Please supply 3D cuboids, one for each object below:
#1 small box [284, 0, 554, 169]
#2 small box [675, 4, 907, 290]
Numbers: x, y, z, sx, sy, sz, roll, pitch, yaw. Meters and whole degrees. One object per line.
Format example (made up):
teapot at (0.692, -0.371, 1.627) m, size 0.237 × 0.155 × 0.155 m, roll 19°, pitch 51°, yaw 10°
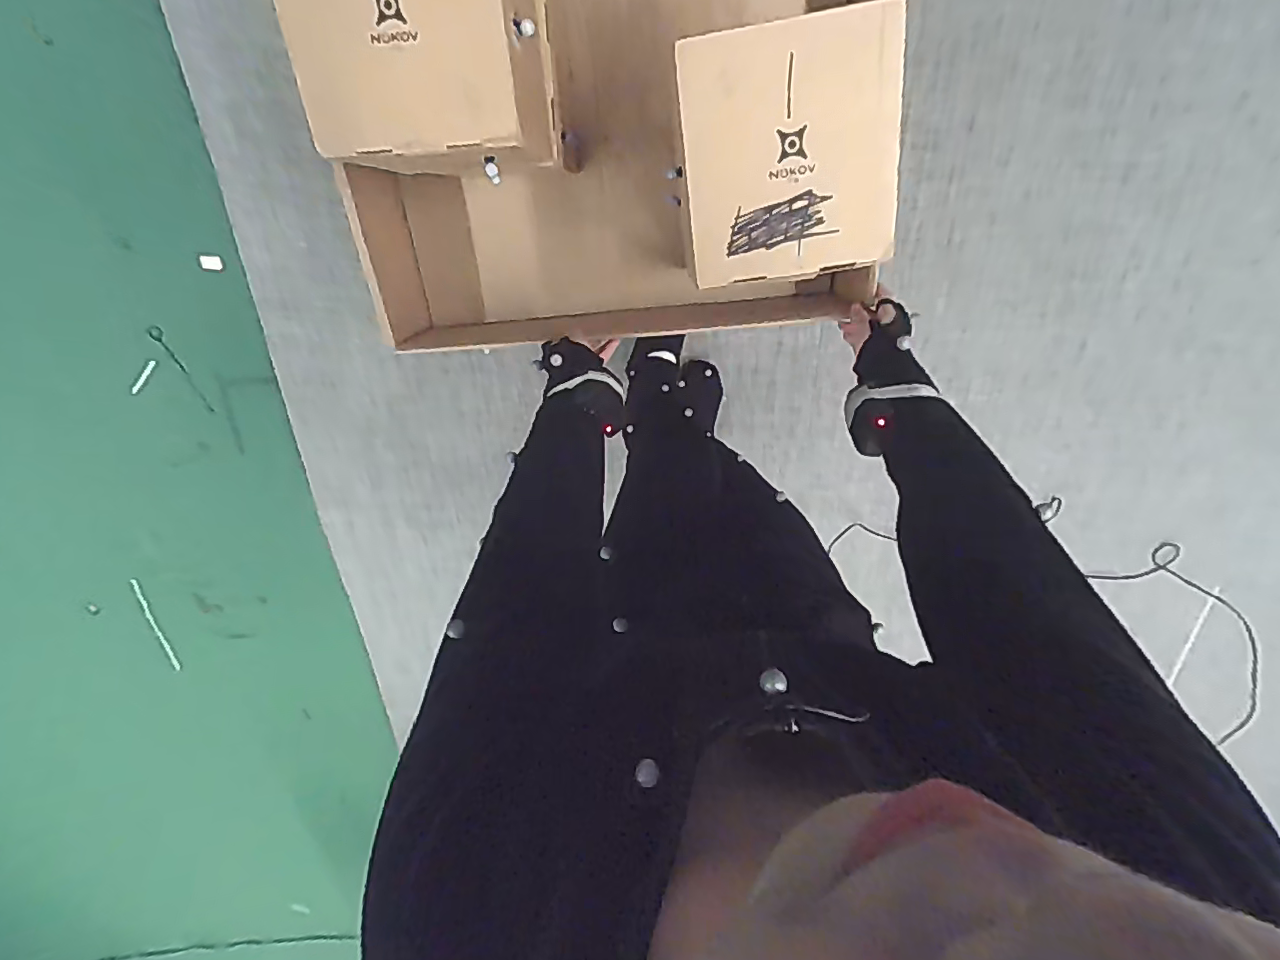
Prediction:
small box at (-0.174, -0.373, 0.467) m, size 0.168 × 0.176 × 0.179 m, roll -2°, pitch 116°, yaw 2°
small box at (0.123, -0.285, 0.496) m, size 0.168 × 0.176 × 0.179 m, roll -6°, pitch 115°, yaw 6°
